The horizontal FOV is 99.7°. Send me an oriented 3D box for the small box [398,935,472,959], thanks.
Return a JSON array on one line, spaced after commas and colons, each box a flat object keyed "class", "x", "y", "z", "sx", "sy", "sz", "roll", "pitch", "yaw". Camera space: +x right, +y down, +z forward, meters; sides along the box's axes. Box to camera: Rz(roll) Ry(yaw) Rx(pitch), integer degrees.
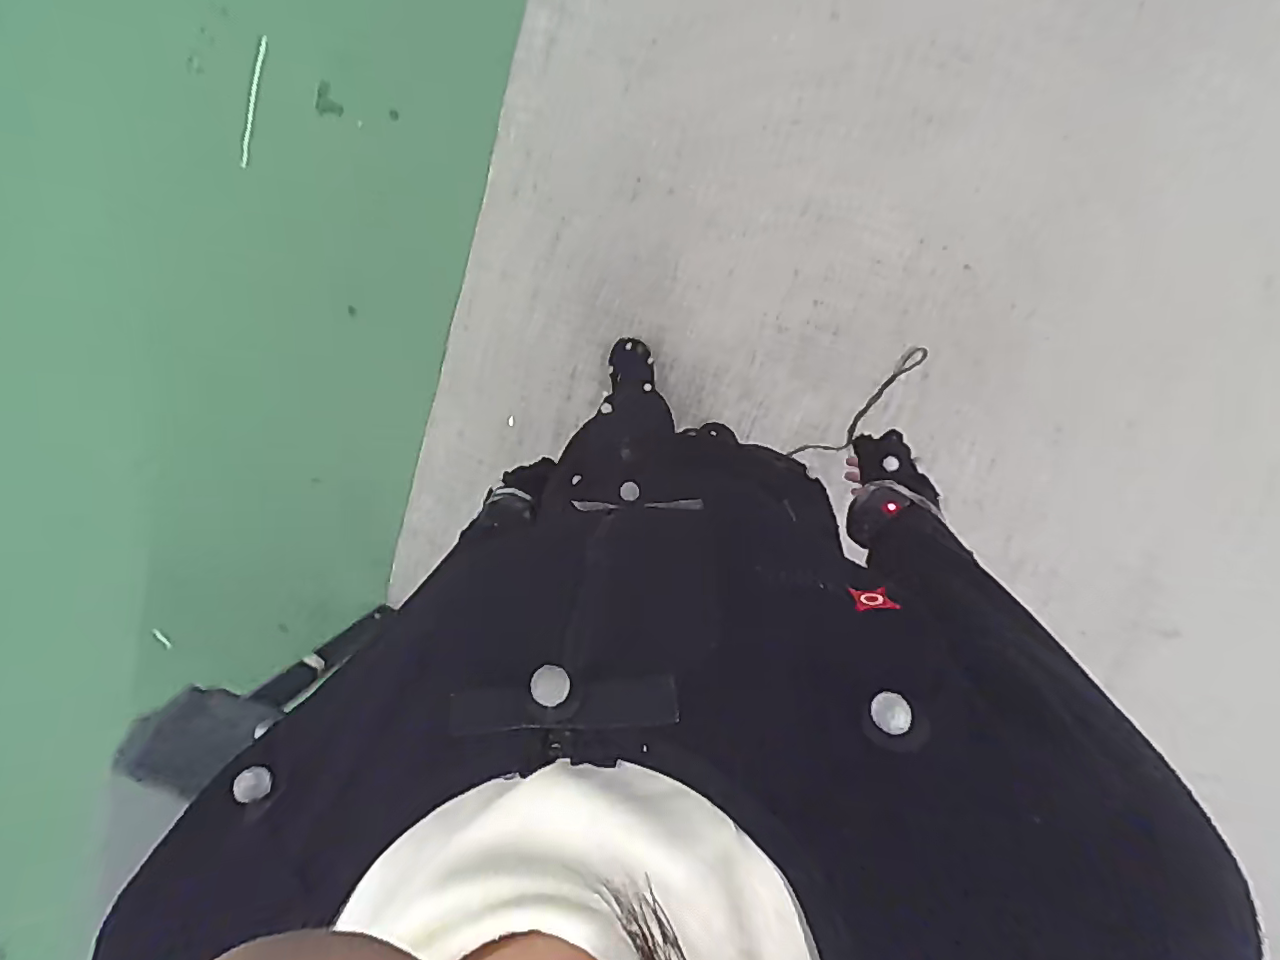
[{"class": "small box", "x": -0.339, "y": 0.870, "z": 0.837, "sx": 0.168, "sy": 0.176, "sz": 0.179, "roll": 18, "pitch": 103, "yaw": 6}]
